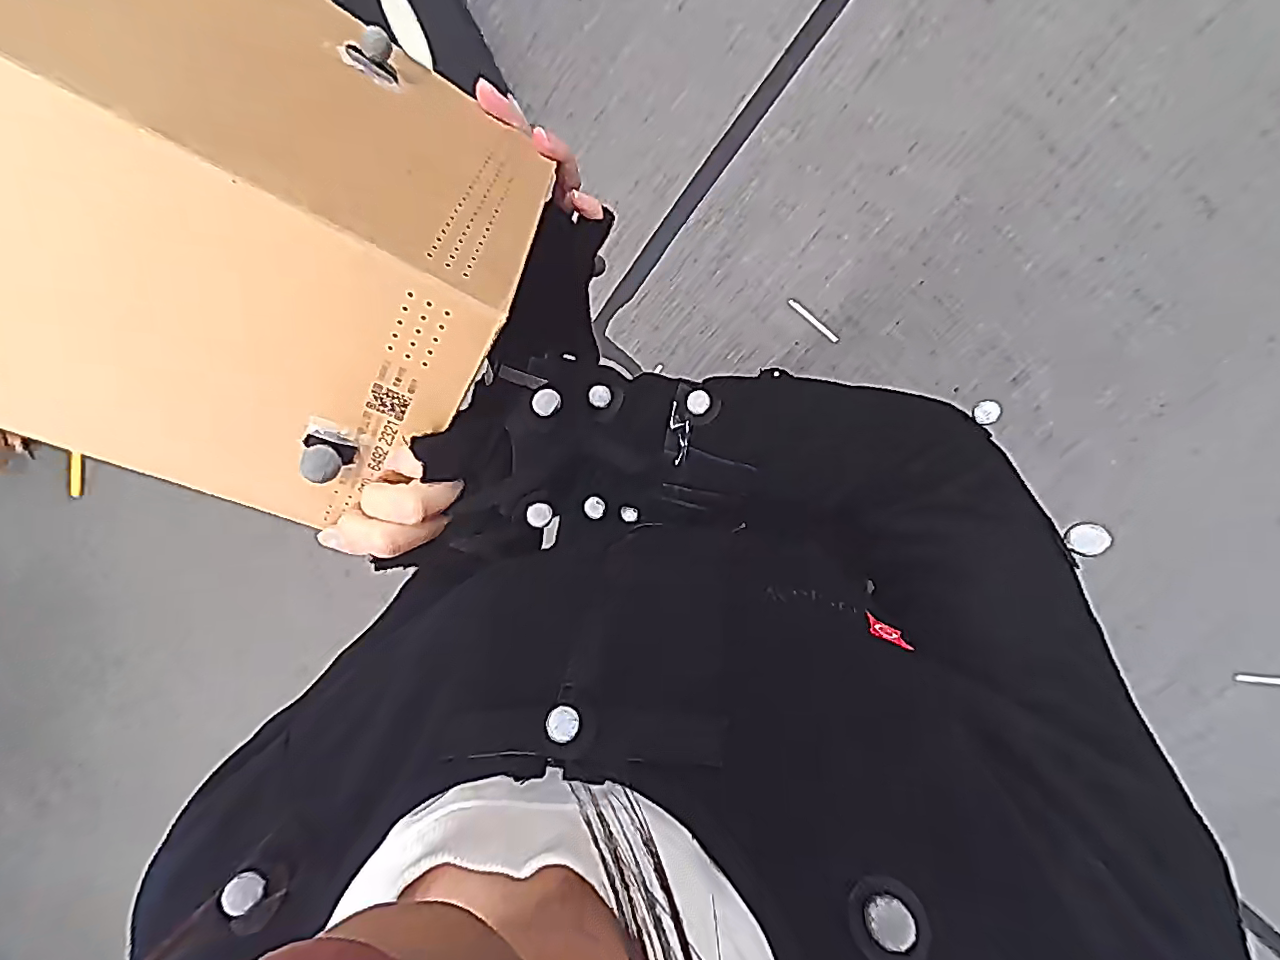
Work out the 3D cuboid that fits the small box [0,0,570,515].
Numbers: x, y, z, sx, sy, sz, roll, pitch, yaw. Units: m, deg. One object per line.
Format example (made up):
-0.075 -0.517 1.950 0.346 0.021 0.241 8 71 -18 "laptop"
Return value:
-0.150 -0.111 0.282 0.176 0.179 0.168 24 133 -23 "small box"
